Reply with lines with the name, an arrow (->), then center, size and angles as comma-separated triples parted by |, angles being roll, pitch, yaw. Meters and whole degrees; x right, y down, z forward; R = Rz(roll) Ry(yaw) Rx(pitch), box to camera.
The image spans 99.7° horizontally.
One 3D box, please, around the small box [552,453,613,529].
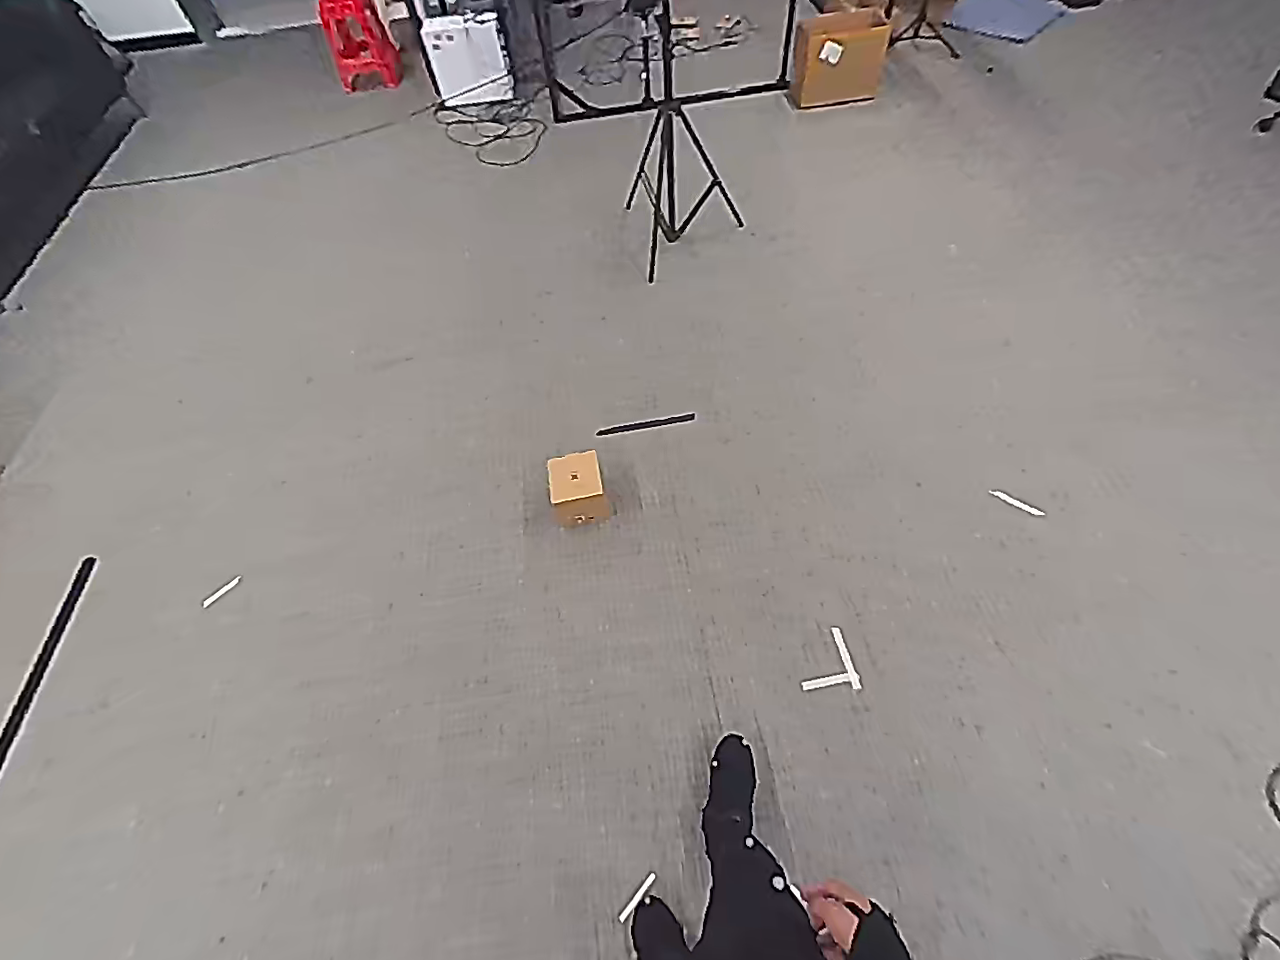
small box -> -0.190, 0.037, 1.792 | 0.168, 0.176, 0.179 | -11, 57, -1
